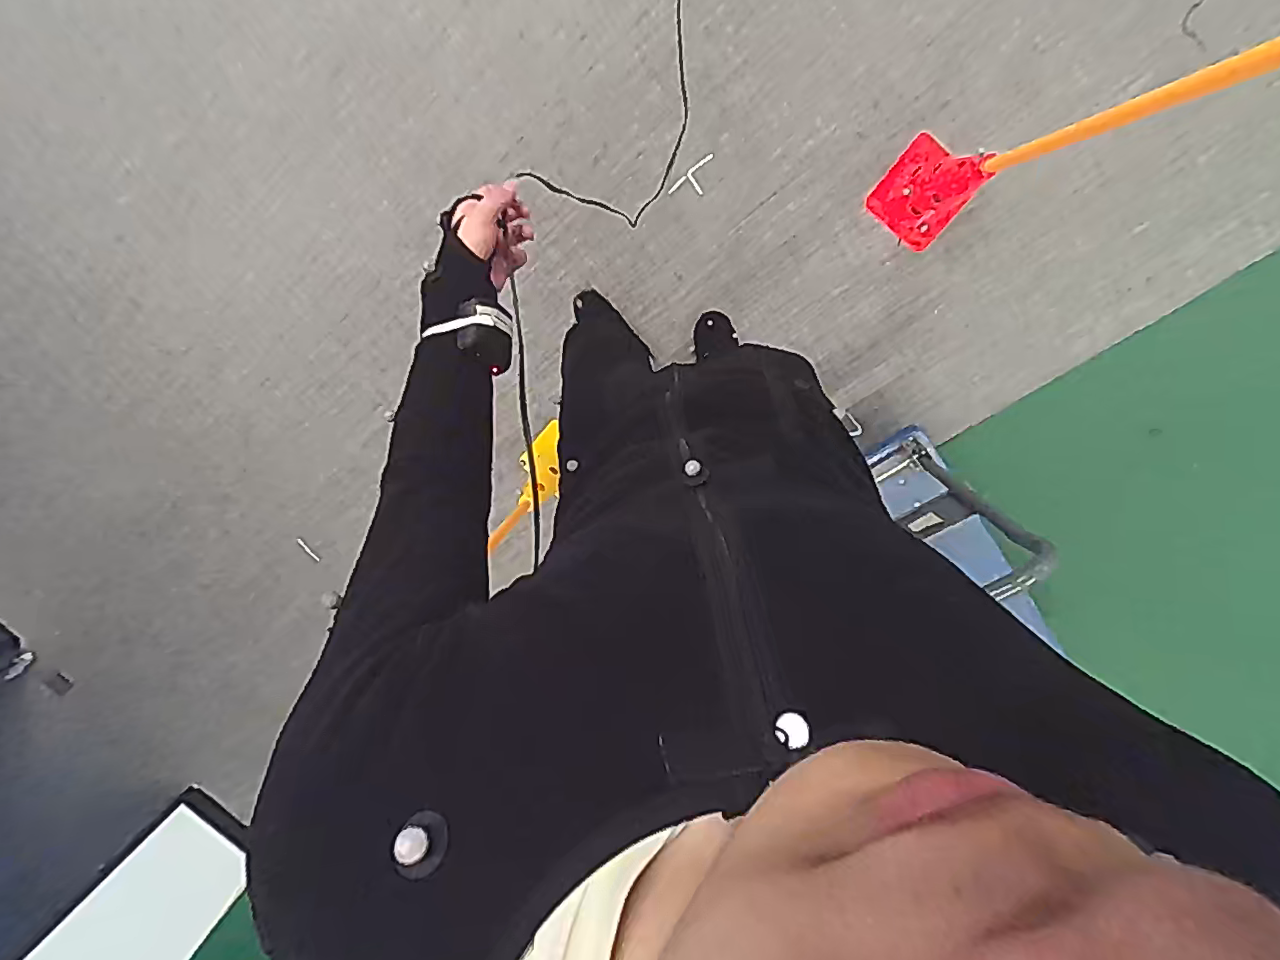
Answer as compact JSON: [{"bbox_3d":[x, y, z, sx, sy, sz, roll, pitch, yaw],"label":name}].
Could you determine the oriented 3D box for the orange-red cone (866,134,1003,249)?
[{"bbox_3d":[0.664,-0.640,1.154,0.198,0.360,0.199,38,109,-8],"label":"orange-red cone"}]
